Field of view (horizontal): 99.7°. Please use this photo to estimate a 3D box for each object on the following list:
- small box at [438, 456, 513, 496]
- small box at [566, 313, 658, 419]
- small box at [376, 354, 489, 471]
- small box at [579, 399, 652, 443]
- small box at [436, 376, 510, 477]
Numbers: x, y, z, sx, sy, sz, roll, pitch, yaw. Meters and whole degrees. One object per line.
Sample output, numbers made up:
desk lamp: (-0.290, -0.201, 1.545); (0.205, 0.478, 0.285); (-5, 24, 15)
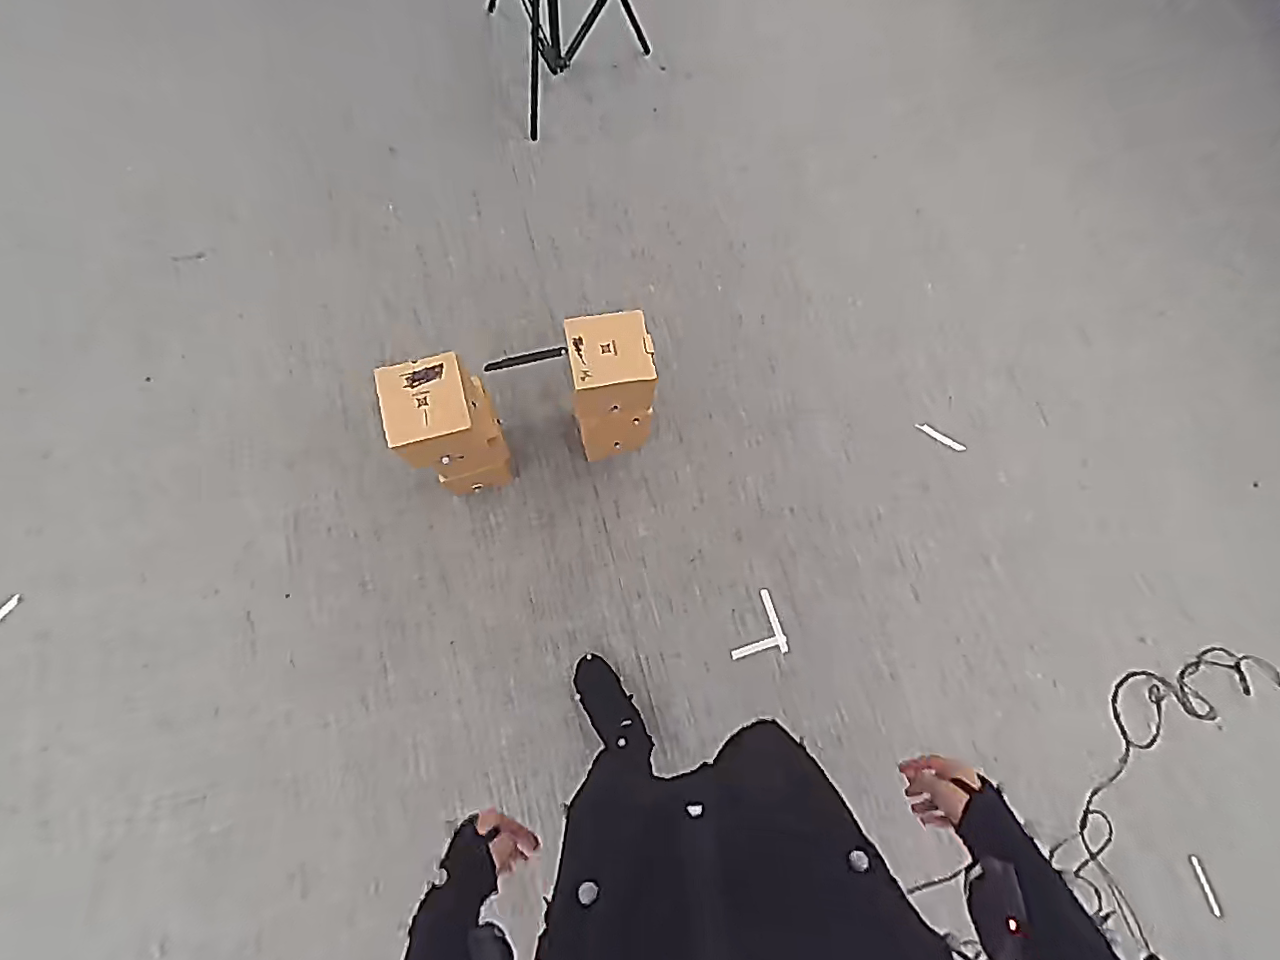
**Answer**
small box: (-0.457, -0.073, 1.468); (0.168, 0.176, 0.179); (-17, 77, -8)
small box: (-0.068, -0.249, 1.204); (0.179, 0.176, 0.168); (-9, 75, -8)
small box: (-0.432, -0.138, 1.147); (0.168, 0.176, 0.179); (-15, 77, -6)
small box: (-0.073, -0.202, 1.361); (0.179, 0.176, 0.168); (-9, 76, -7)
small box: (-0.434, -0.122, 1.313); (0.179, 0.176, 0.168); (-19, 77, -8)
